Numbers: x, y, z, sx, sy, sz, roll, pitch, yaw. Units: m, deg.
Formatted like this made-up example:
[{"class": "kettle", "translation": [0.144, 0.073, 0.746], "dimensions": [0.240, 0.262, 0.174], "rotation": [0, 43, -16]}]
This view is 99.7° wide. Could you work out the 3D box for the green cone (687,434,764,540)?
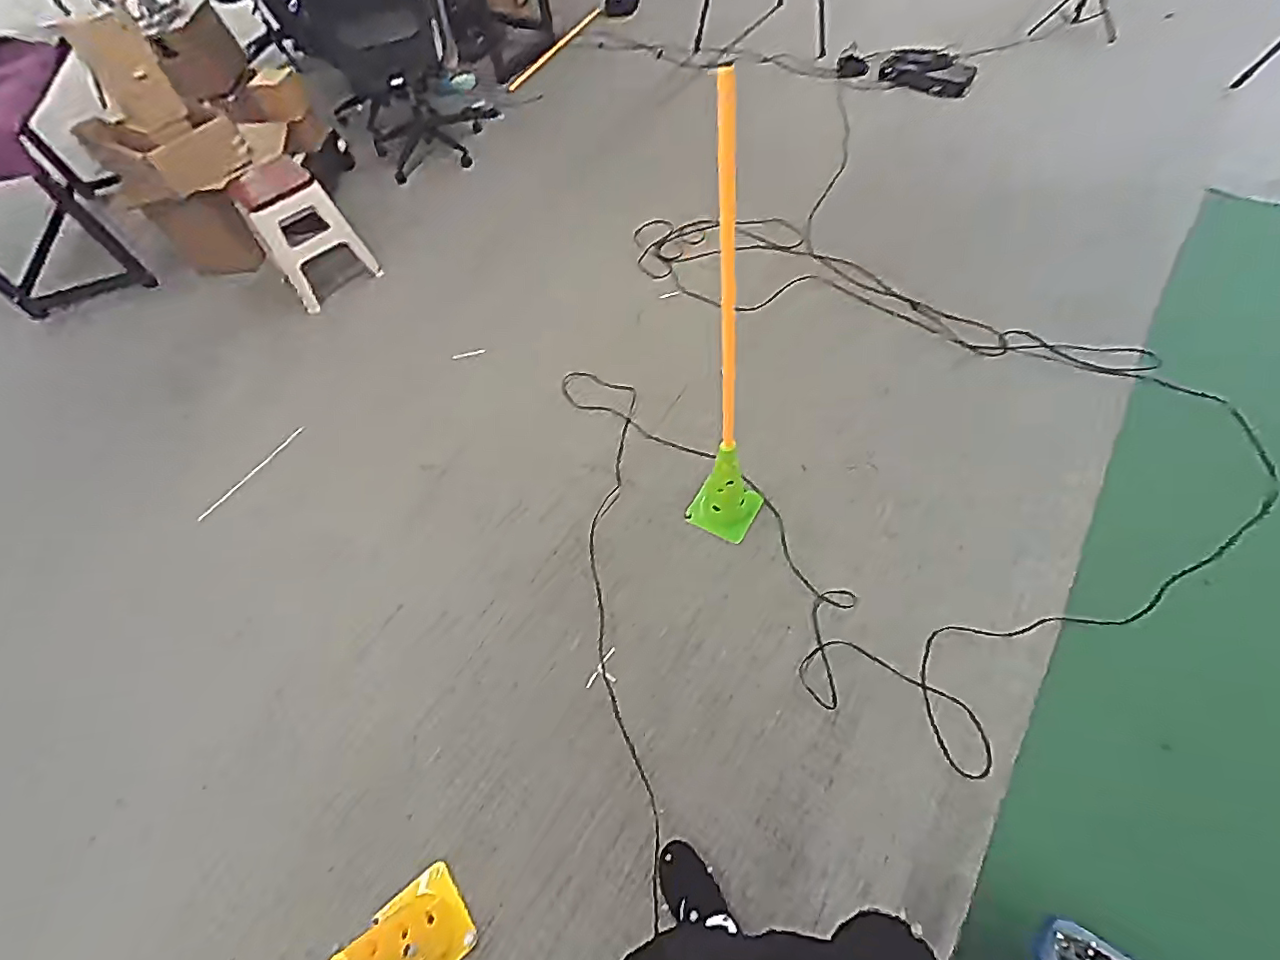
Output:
[{"class": "green cone", "translation": [0.261, -0.010, 1.595], "dimensions": [0.200, 0.368, 0.202], "rotation": [25, 63, 20]}]
